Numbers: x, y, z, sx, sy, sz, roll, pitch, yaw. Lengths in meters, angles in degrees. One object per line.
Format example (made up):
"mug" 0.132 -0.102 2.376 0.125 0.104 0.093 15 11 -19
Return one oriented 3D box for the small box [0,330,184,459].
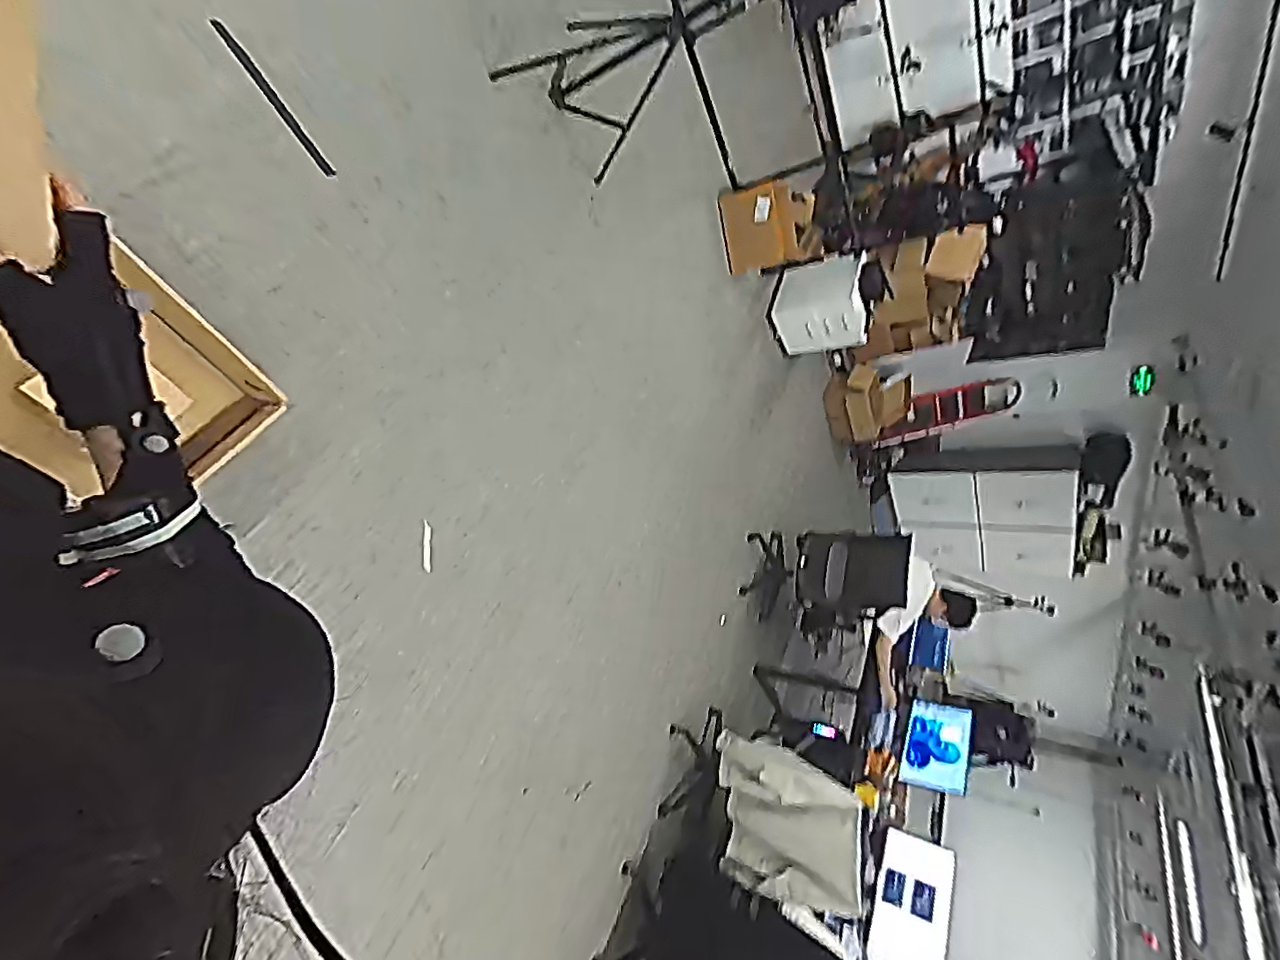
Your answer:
"small box" -1.036 -0.156 1.025 0.179 0.176 0.168 57 47 -34
